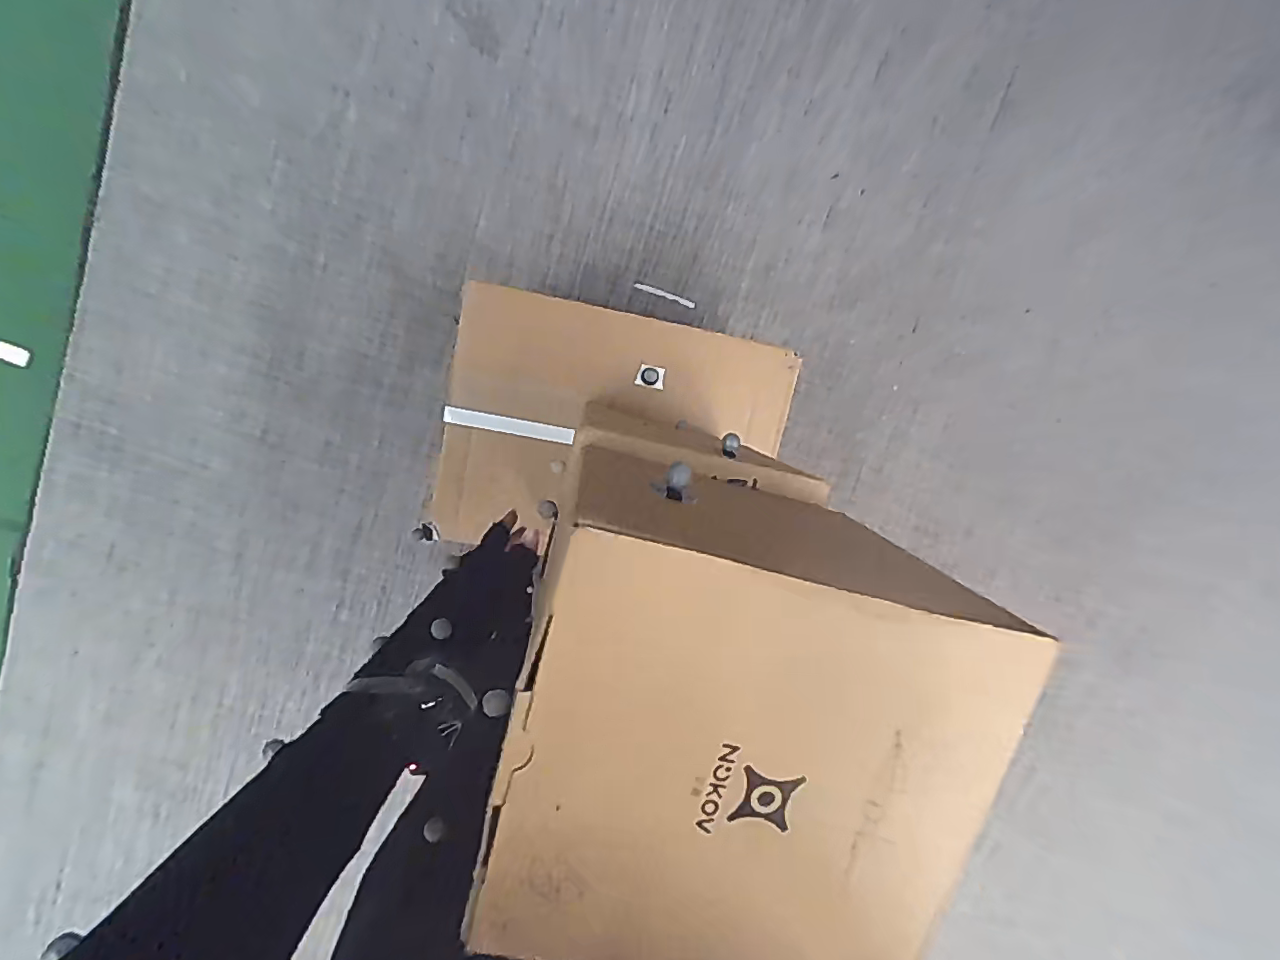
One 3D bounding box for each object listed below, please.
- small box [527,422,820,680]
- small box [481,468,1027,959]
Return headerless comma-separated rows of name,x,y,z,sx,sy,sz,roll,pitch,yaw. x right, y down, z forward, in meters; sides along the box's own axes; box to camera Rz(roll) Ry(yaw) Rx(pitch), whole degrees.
small box,0.016,0.059,0.439,0.168,0.176,0.179,13,99,-7
small box,0.035,0.098,0.282,0.179,0.176,0.168,13,100,-8
